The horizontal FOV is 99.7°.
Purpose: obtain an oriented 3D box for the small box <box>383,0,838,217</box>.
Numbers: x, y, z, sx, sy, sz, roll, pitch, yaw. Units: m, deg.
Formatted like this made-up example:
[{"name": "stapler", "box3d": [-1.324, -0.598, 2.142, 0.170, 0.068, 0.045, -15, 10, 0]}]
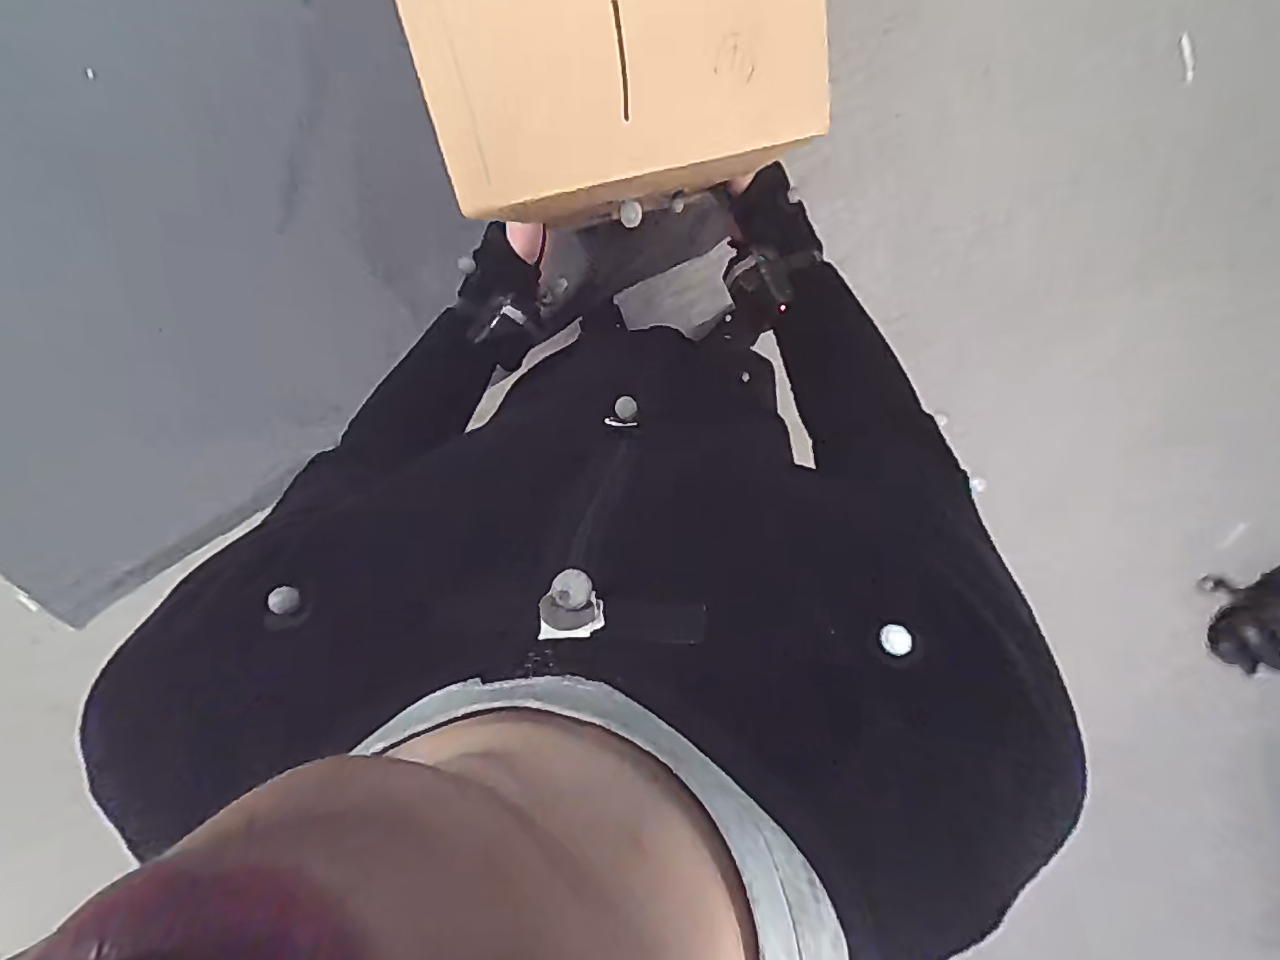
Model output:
[{"name": "small box", "box3d": [-0.019, -0.236, 0.256, 0.168, 0.176, 0.179, -10, 114, 2]}]
